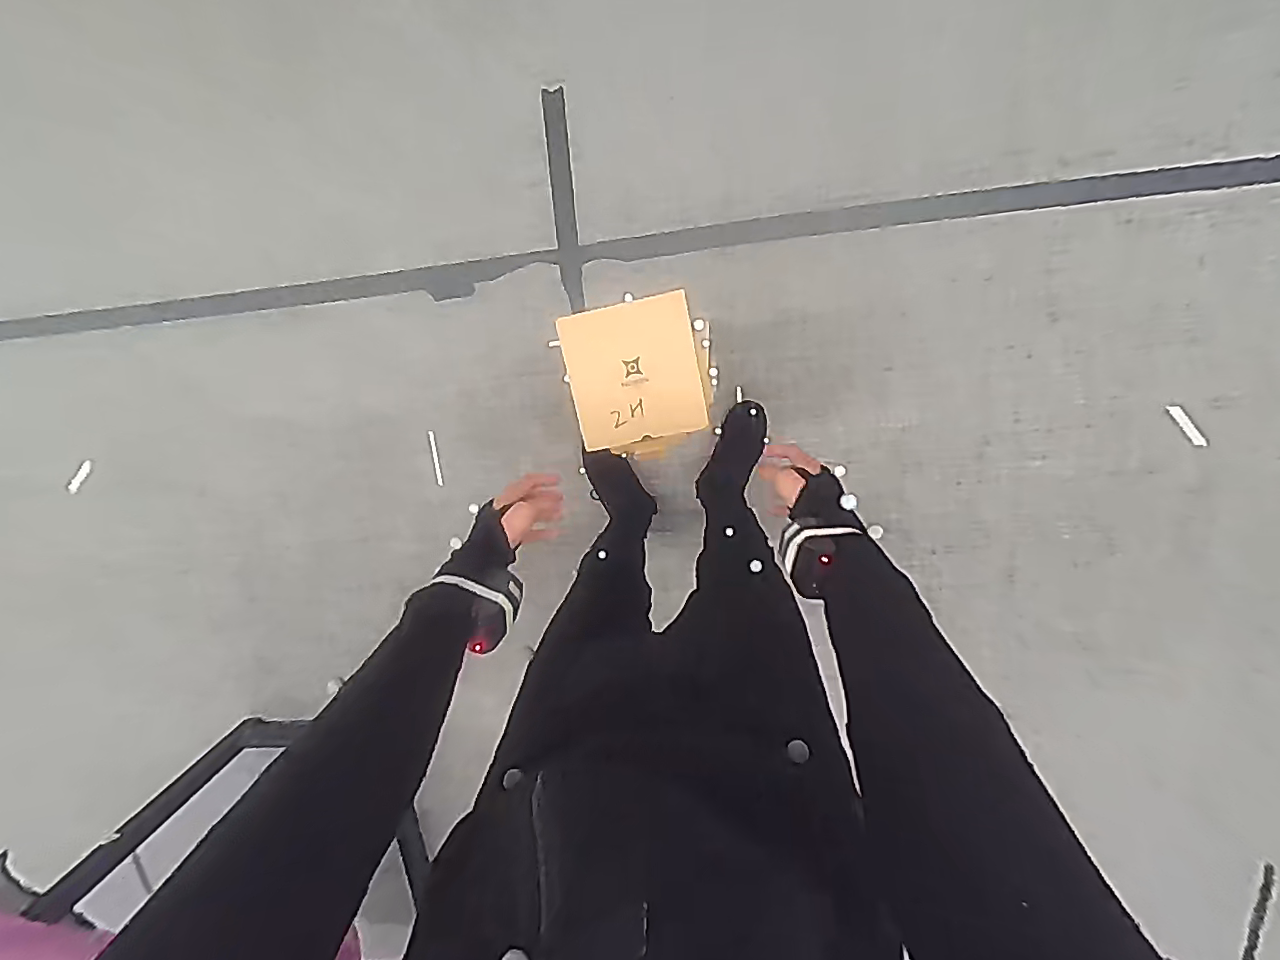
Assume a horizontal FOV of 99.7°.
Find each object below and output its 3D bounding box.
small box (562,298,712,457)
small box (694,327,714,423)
[{"bbox_3d":[0.004,-0.145,0.759,0.168,0.176,0.179,-10,104,9],"label":"small box"},{"bbox_3d":[0.060,-0.212,1.078,0.168,0.176,0.179,0,106,6],"label":"small box"}]
